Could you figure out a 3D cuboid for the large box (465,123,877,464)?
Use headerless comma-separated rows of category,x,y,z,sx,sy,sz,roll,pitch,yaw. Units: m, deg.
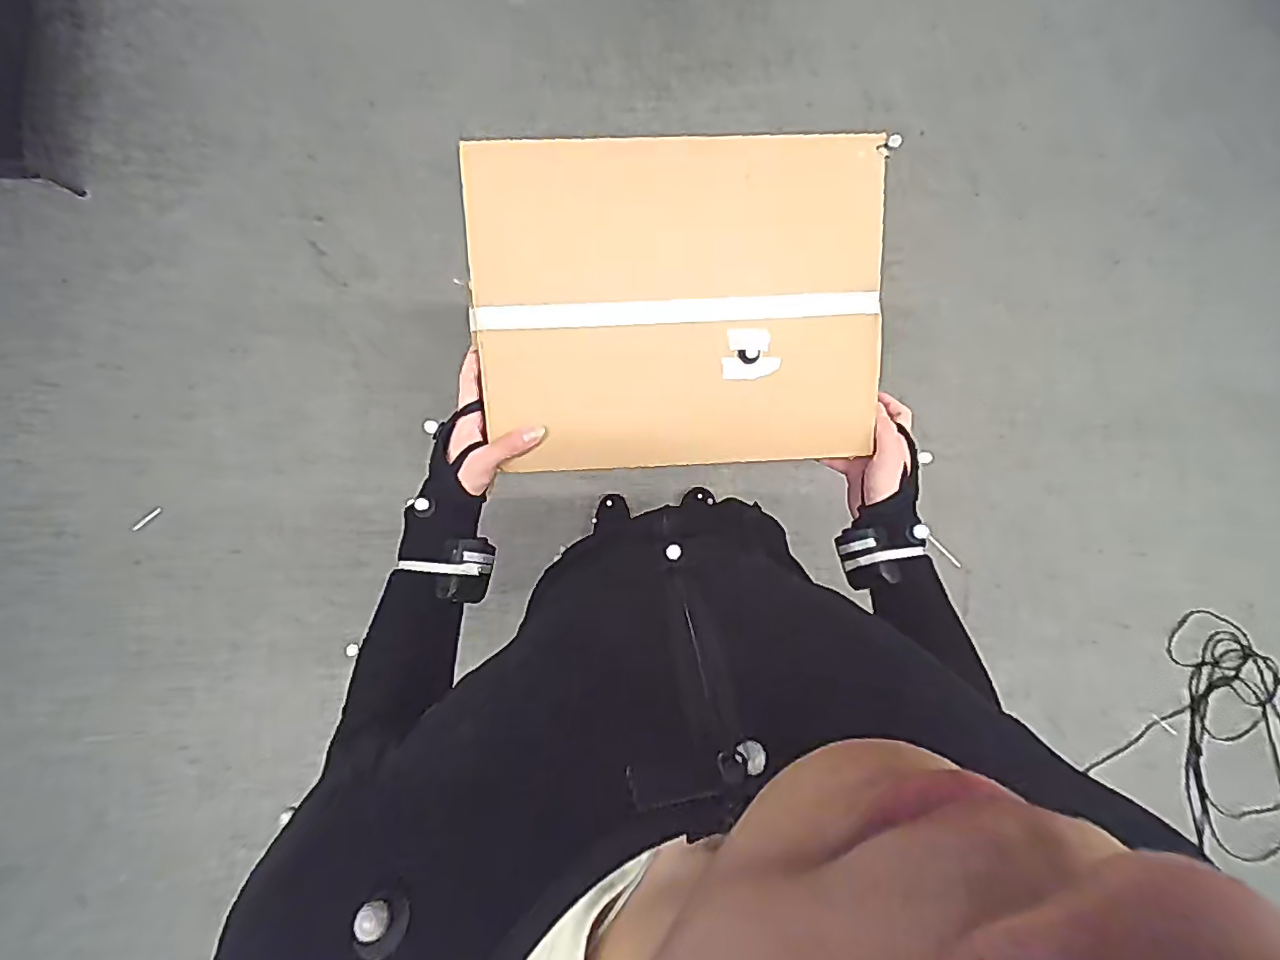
large box,0.031,-0.209,0.688,0.408,0.320,0.320,-4,102,-3
